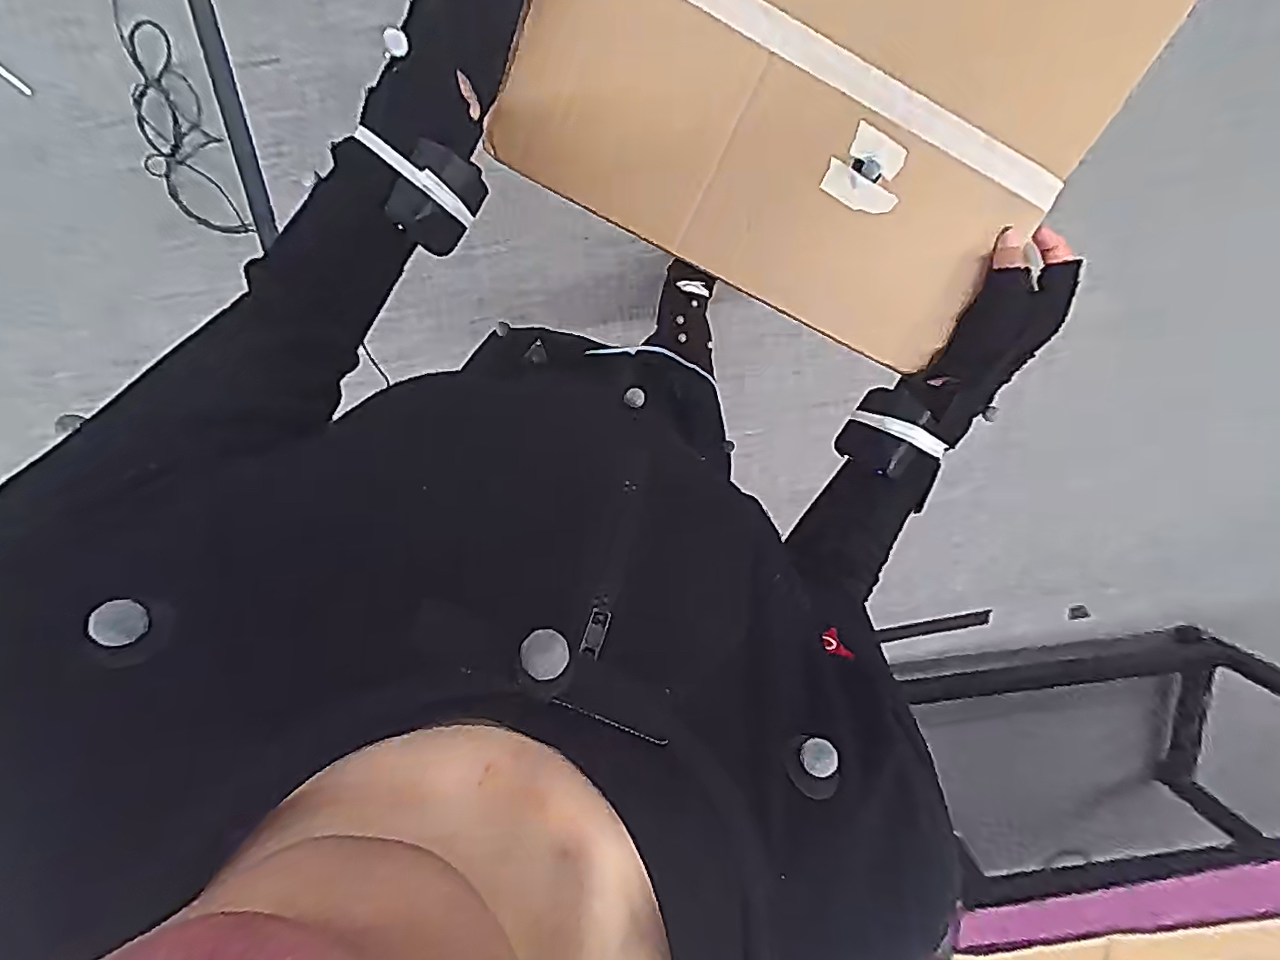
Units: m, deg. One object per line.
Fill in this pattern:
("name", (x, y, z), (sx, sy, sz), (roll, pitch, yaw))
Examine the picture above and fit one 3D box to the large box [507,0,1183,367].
("large box", (0.139, -0.362, 0.528), (0.408, 0.320, 0.320), (25, 114, -9))
